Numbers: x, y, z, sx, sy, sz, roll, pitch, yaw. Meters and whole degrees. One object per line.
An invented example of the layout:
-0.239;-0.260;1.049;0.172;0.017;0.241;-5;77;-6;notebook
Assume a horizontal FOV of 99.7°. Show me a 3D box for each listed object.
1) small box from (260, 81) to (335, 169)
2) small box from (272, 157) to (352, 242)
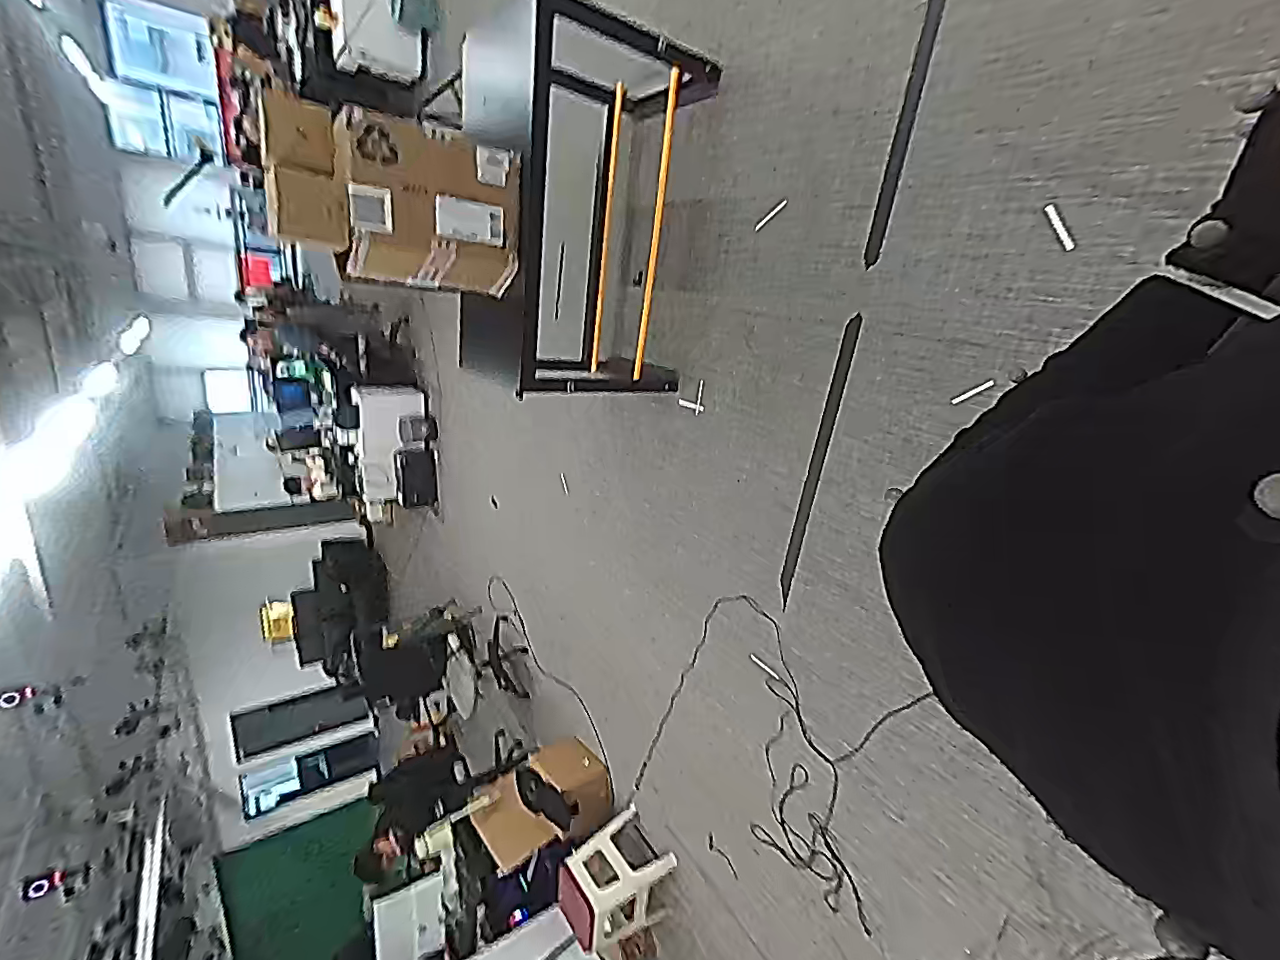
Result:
-0.994;-1.024;1.577;0.179;0.176;0.168;26;114;49;small box
-0.897;-0.757;1.478;0.179;0.176;0.168;24;113;49;small box
